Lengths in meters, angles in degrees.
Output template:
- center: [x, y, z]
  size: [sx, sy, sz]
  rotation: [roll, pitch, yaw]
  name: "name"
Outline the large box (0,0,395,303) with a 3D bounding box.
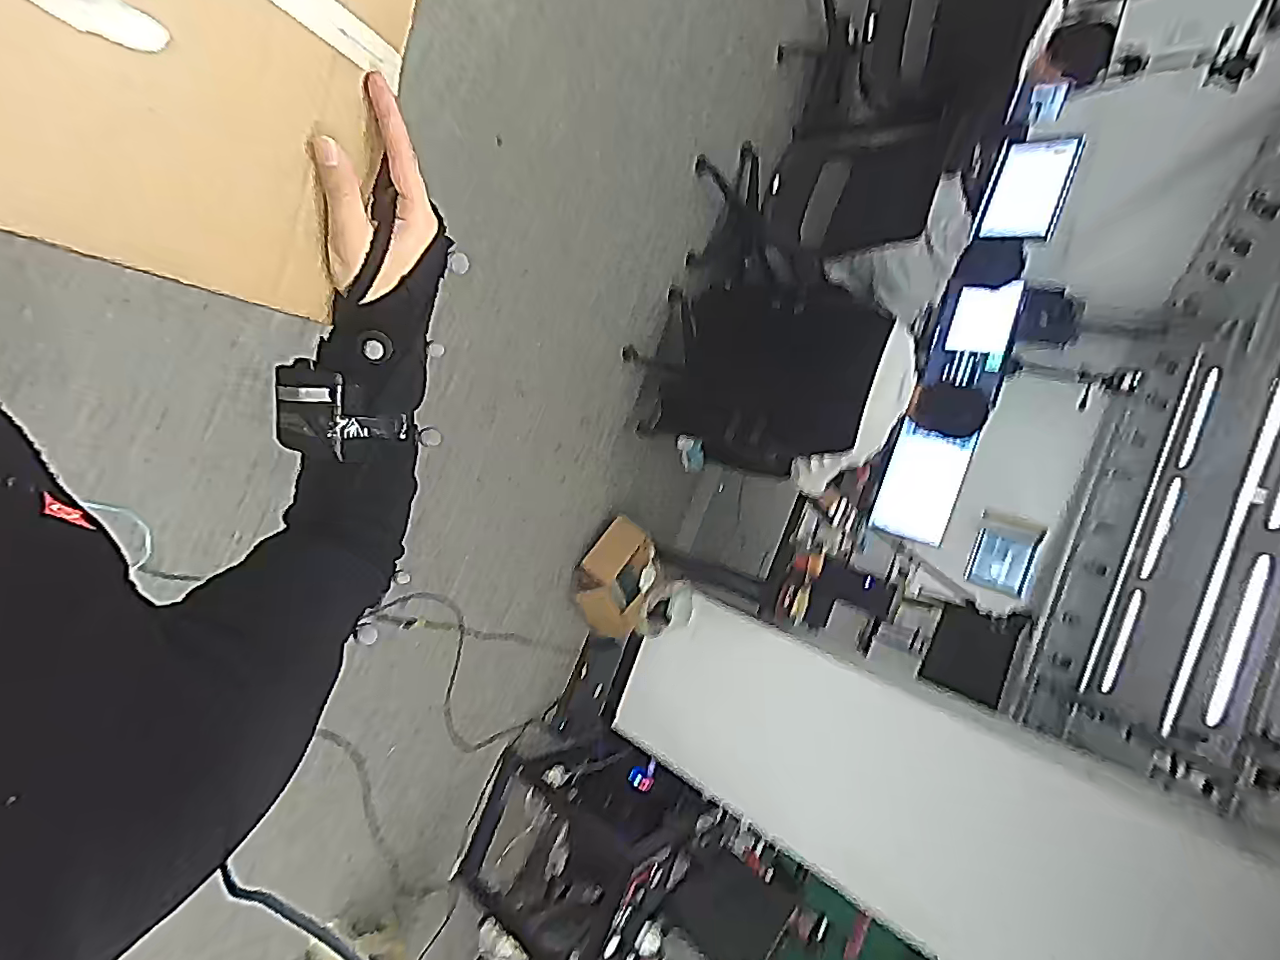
- center: [-0.382, -0.309, 0.231]
  size: [0.408, 0.320, 0.320]
  rotation: [1, 110, -61]
  name: "large box"
